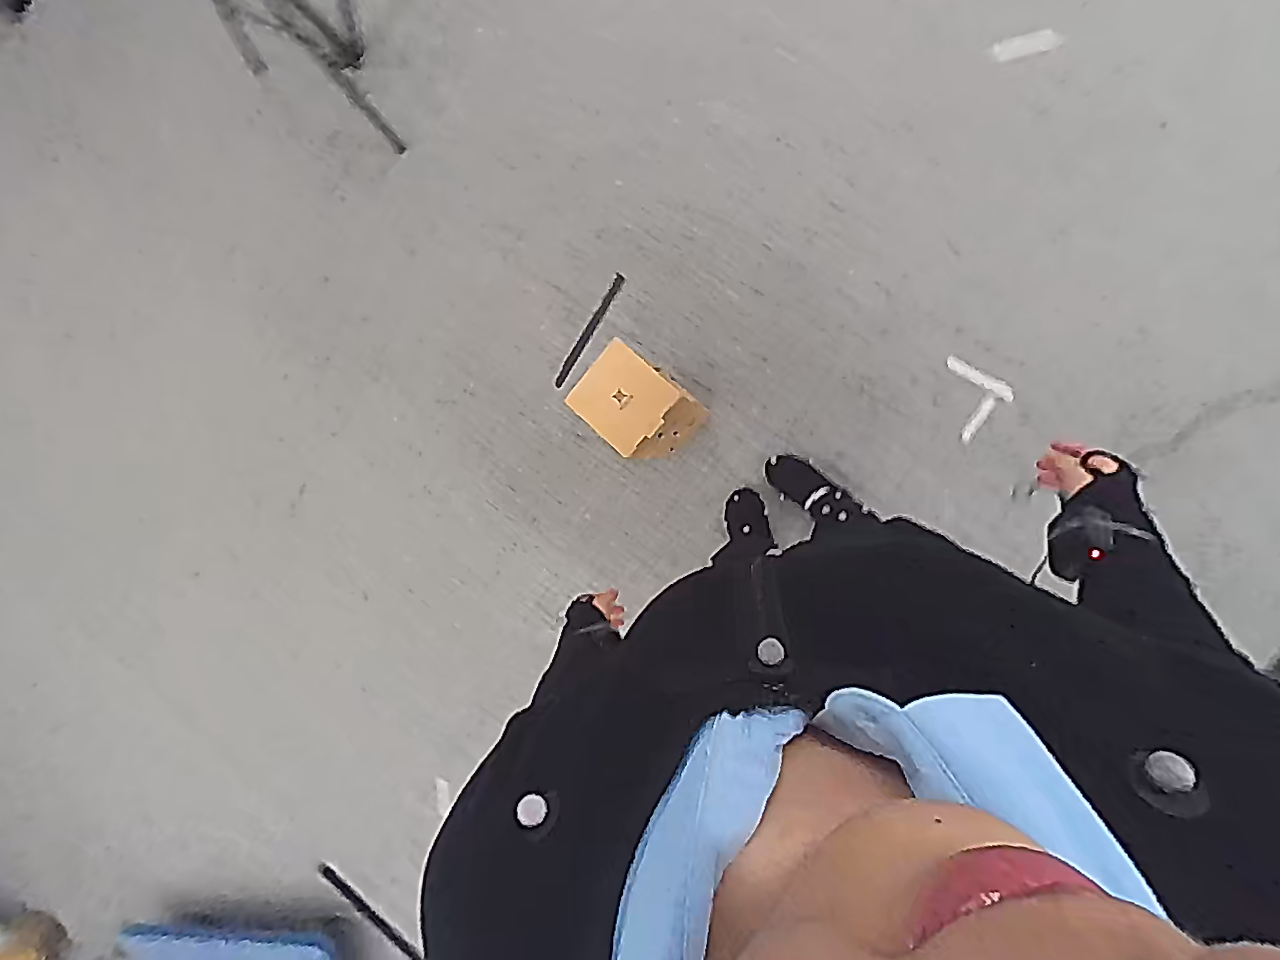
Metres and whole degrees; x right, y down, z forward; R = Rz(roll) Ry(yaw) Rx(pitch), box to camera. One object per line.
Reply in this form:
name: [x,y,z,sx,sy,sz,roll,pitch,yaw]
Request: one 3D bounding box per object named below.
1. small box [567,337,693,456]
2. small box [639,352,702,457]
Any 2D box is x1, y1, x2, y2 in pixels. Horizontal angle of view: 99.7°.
small box: [-0.013,-0.162,1.112,0.179,0.176,0.168,42,101,8]
small box: [0.027,-0.172,1.269,0.179,0.176,0.168,42,100,8]
